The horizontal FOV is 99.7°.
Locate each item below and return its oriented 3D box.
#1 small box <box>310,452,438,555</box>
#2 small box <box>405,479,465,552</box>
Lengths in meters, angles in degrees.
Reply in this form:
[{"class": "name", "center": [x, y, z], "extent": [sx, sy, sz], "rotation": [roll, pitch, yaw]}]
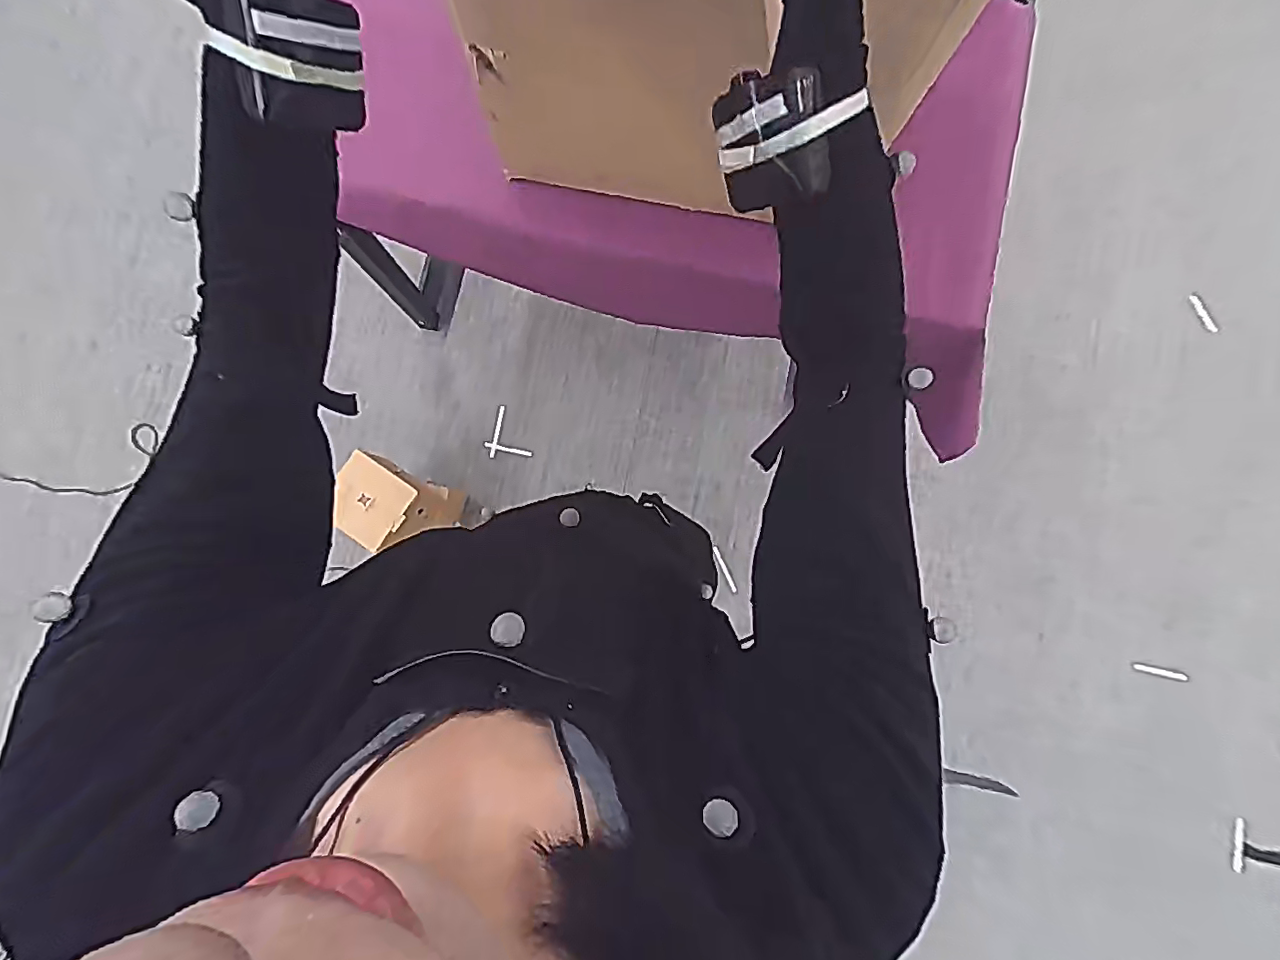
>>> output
[{"class": "small box", "center": [-0.606, 0.058, 1.258], "extent": [0.179, 0.176, 0.168], "rotation": [34, 82, 3]}, {"class": "small box", "center": [-0.585, 0.089, 1.420], "extent": [0.179, 0.176, 0.168], "rotation": [15, 84, -1]}]
